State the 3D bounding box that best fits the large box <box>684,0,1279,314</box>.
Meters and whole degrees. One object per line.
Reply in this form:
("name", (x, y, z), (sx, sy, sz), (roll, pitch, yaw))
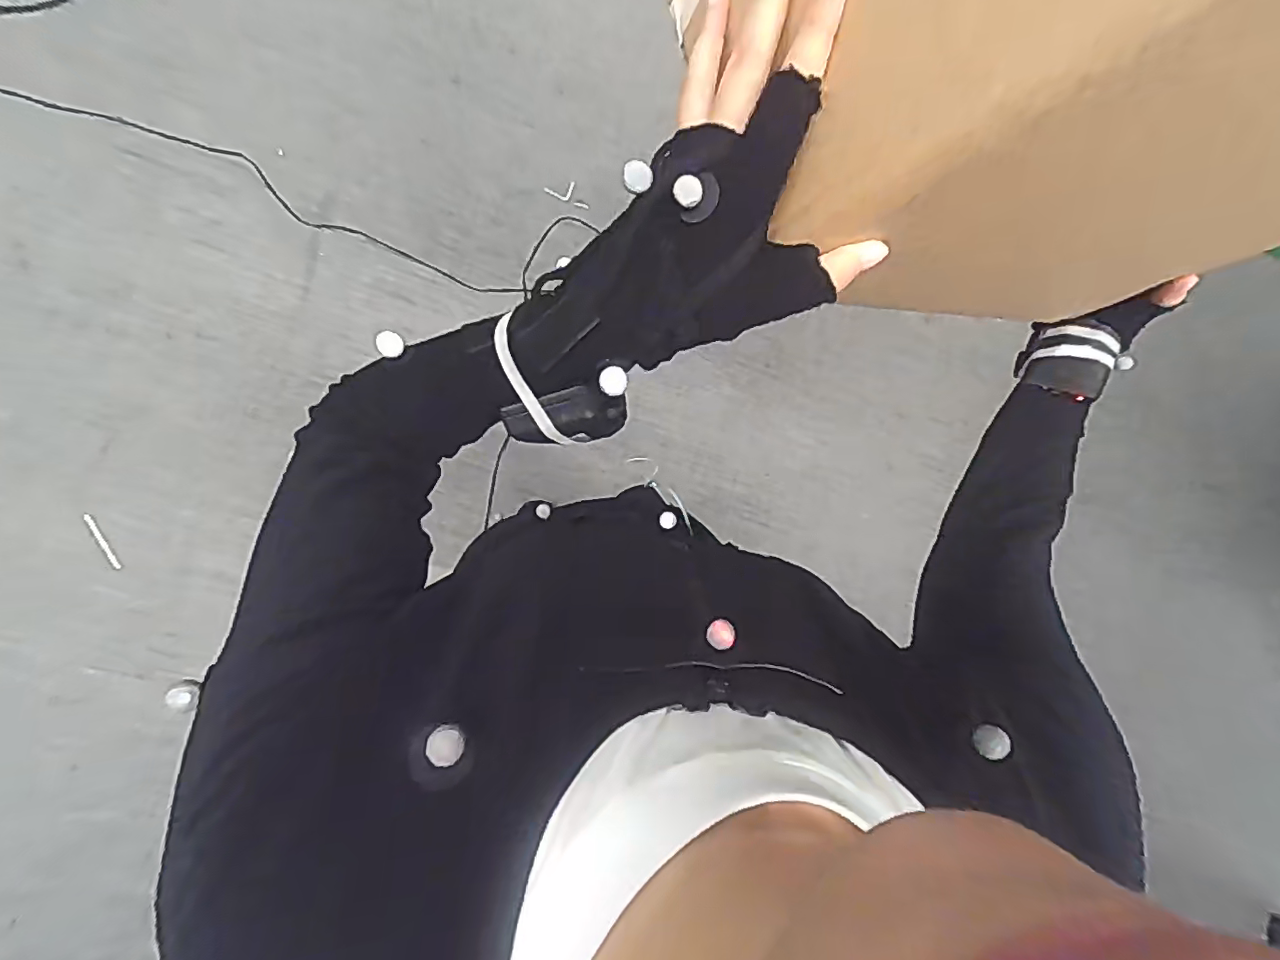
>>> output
("large box", (0.267, -0.299, 0.281), (0.408, 0.320, 0.320), (-8, 85, -33))
